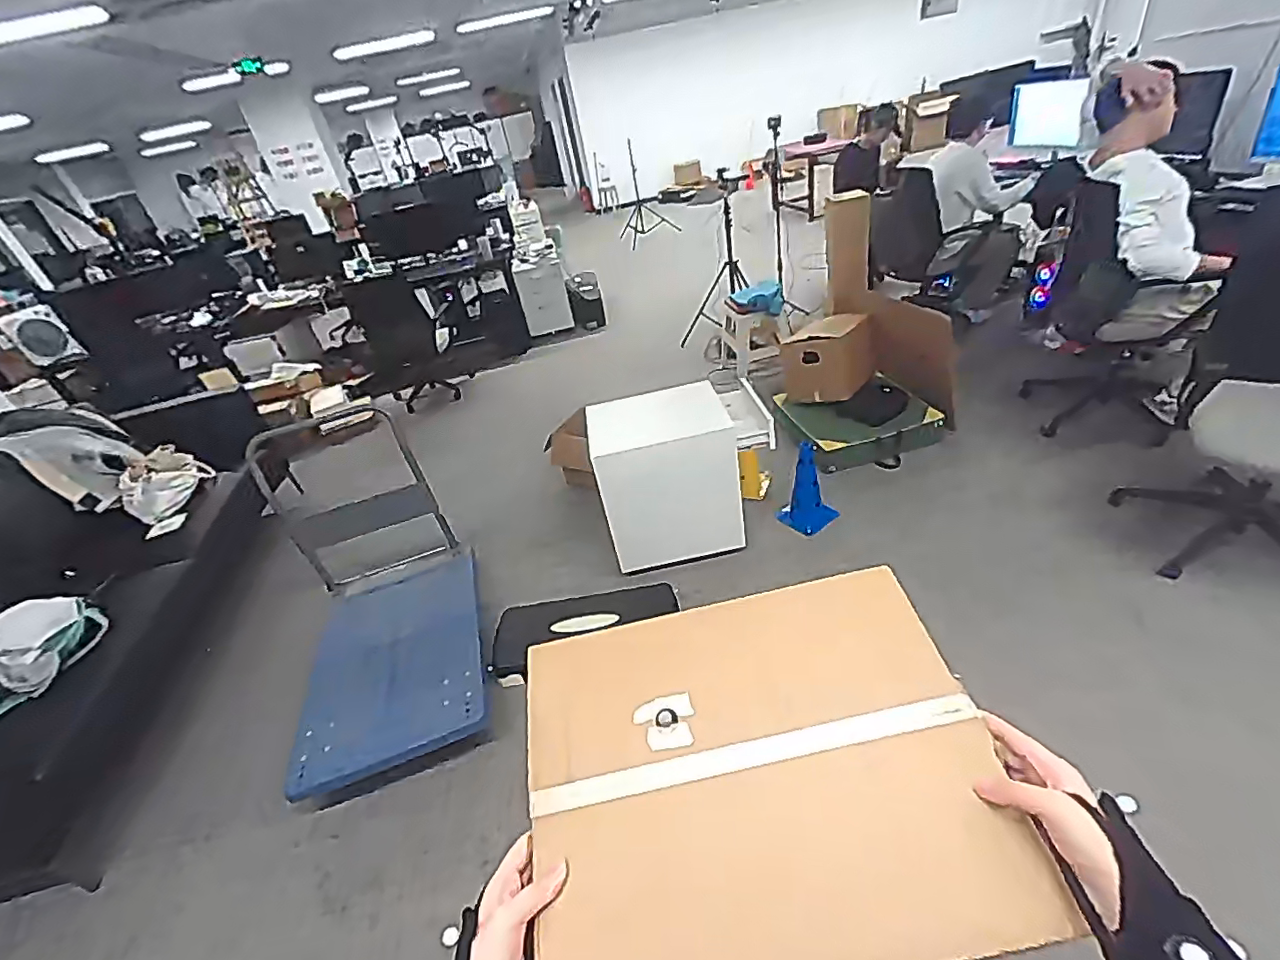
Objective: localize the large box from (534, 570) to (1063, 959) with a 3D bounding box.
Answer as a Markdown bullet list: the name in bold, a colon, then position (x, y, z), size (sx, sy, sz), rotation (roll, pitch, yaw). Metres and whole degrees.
- **large box**: position (0.129, 0.353, 0.611), size (0.408, 0.320, 0.320), rotation (-15, 47, 3)
